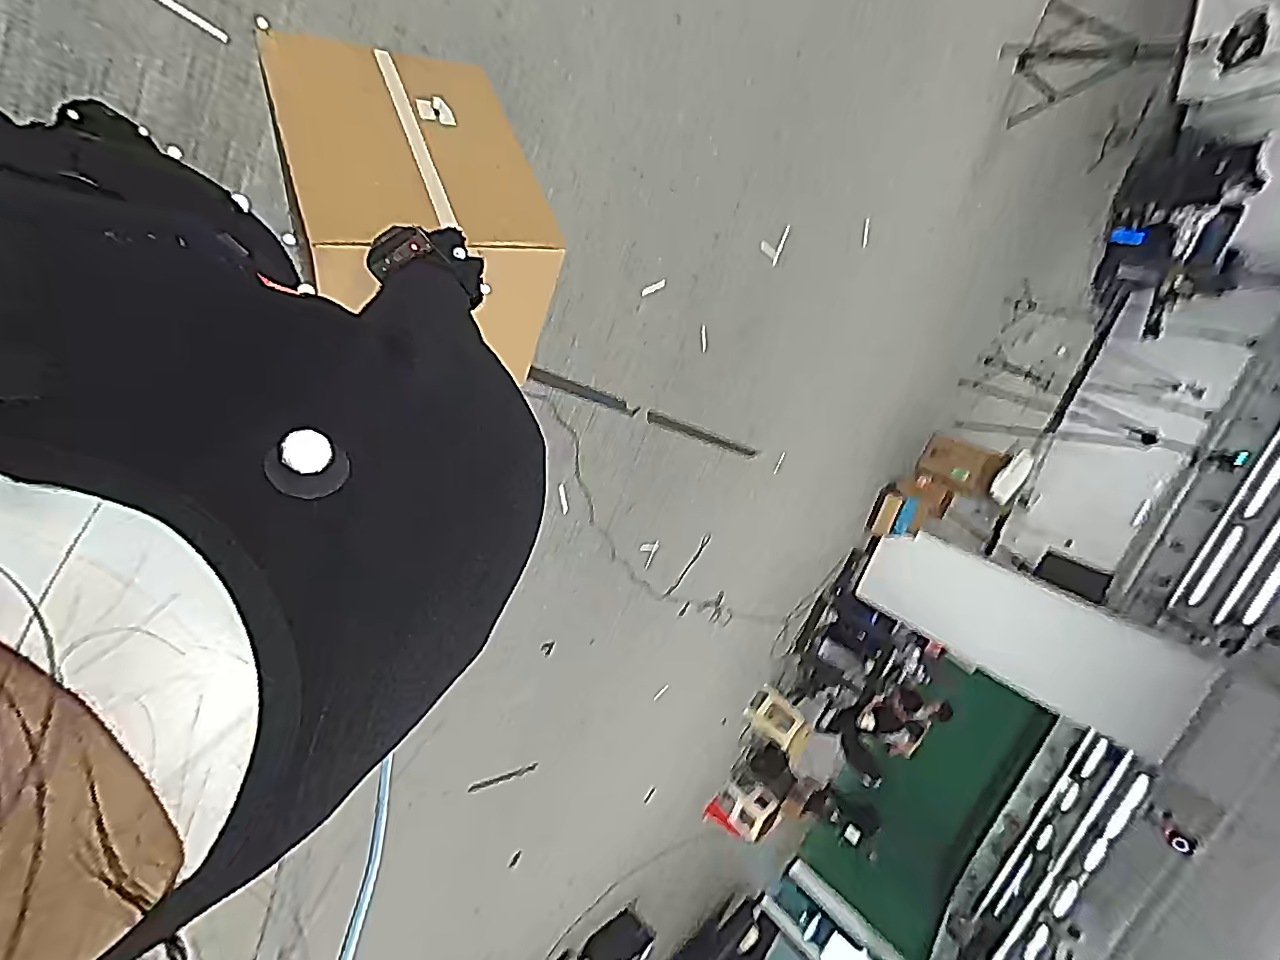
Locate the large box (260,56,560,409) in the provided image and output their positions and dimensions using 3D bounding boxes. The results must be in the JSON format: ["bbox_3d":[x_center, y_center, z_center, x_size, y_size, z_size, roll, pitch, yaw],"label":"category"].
[{"bbox_3d":[-0.373,-0.377,0.877,0.320,0.408,0.320,-12,156,-32],"label":"large box"}]
